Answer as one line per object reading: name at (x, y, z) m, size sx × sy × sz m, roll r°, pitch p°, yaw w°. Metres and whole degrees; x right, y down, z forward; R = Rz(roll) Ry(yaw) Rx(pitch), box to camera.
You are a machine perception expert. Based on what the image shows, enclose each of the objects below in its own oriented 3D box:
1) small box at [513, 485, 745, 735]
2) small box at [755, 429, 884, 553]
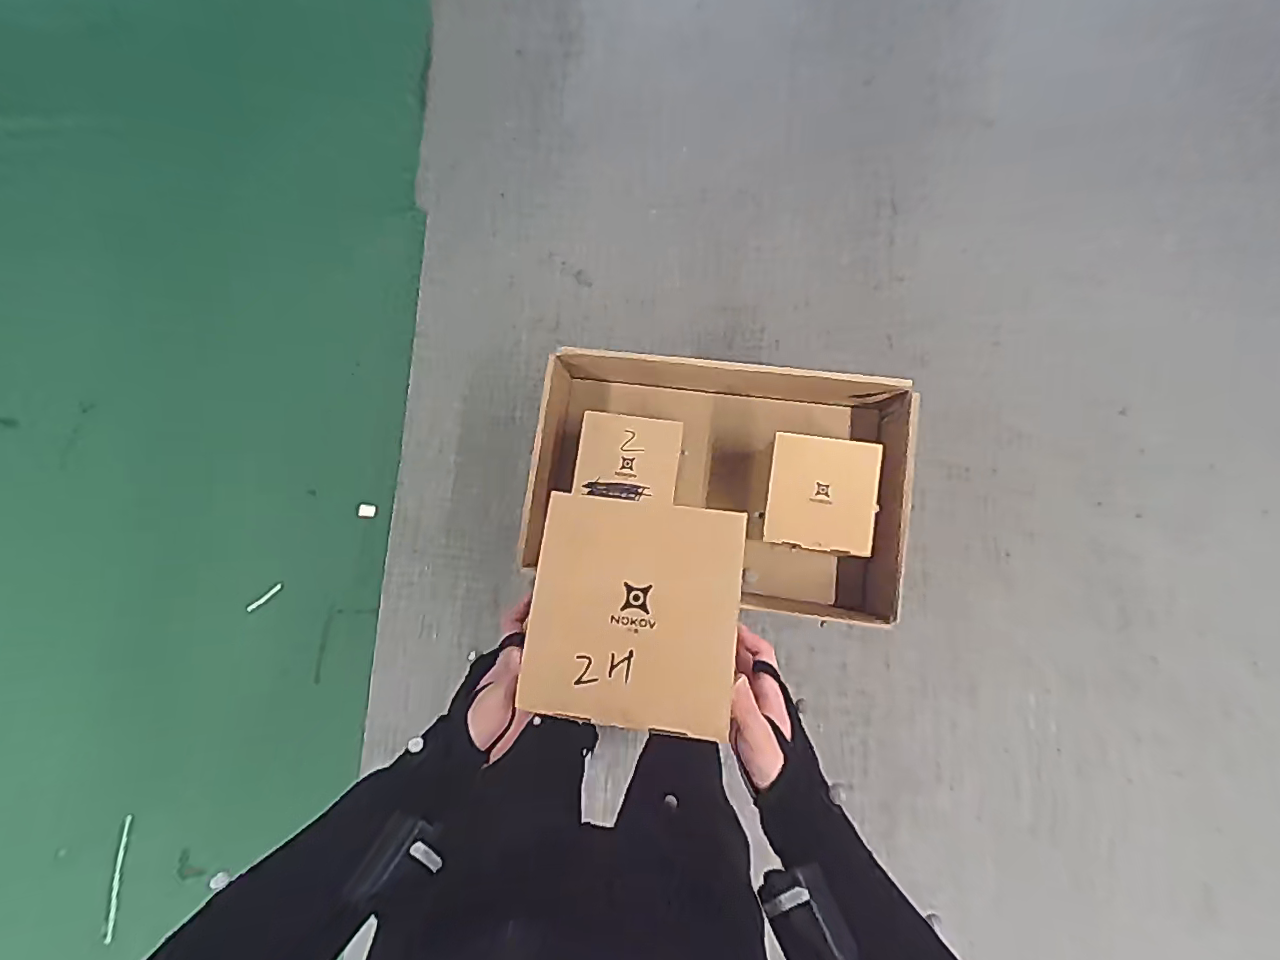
small box at (-0.001, 0.117, 0.503) m, size 0.168 × 0.176 × 0.179 m, roll 6°, pitch 76°, yaw 7°
small box at (0.290, 0.023, 0.908) m, size 0.168 × 0.176 × 0.179 m, roll 7°, pitch 85°, yaw 7°
